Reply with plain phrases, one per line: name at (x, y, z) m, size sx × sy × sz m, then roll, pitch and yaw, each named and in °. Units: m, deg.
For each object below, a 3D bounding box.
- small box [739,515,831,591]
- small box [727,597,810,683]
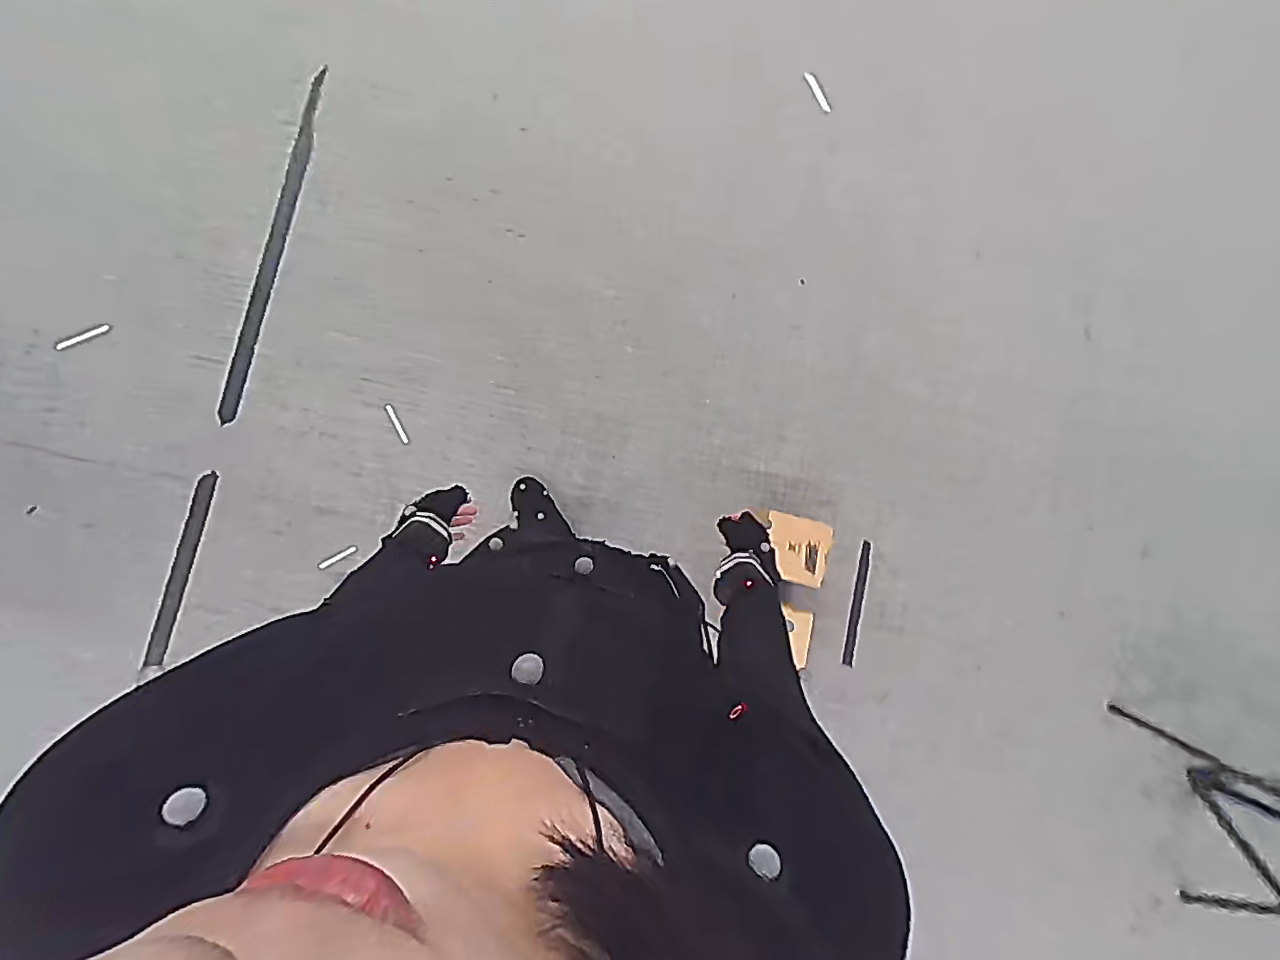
small box at (0.390, 0.192, 1.480) m, size 0.179 × 0.176 × 0.168 m, roll 15°, pitch 86°, yaw -2°
small box at (0.341, 0.425, 1.465) m, size 0.168 × 0.176 × 0.179 m, roll 11°, pitch 87°, yaw -2°
